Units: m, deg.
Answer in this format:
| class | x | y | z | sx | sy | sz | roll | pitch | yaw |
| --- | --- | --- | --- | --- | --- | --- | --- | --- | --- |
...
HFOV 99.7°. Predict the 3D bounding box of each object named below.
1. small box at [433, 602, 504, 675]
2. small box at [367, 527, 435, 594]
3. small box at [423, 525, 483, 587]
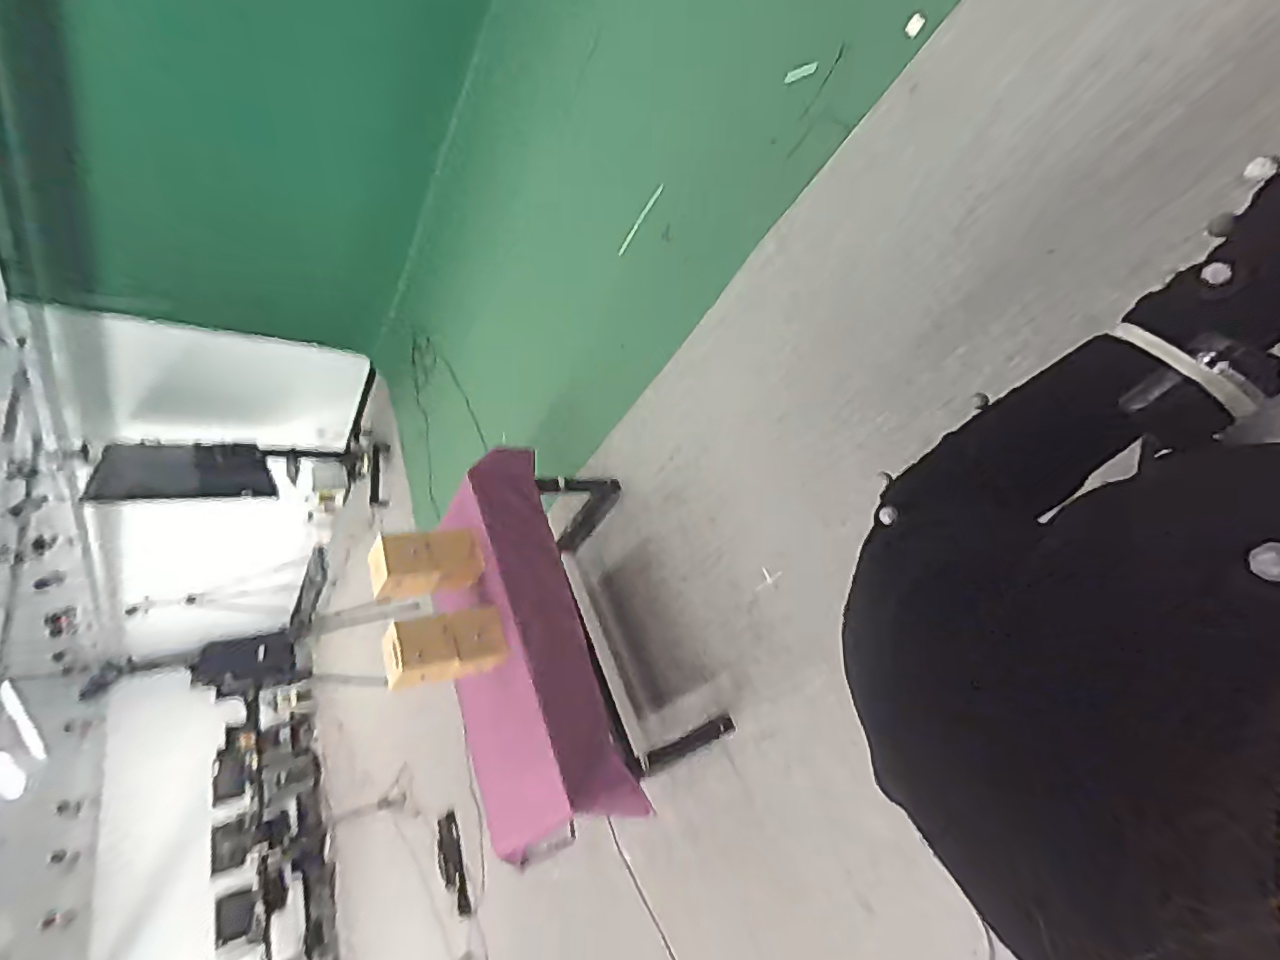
| class | x | y | z | sx | sy | sz | roll | pitch | yaw |
| --- | --- | --- | --- | --- | --- | --- | --- | --- | --- |
| small box | -0.573 | 0.525 | 1.813 | 0.168 | 0.176 | 0.179 | -45 | 58 | 39 |
| small box | -0.815 | 0.271 | 1.849 | 0.179 | 0.176 | 0.168 | -45 | 56 | 39 |
| small box | -0.689 | 0.275 | 1.956 | 0.179 | 0.176 | 0.168 | -43 | 58 | 39 |
